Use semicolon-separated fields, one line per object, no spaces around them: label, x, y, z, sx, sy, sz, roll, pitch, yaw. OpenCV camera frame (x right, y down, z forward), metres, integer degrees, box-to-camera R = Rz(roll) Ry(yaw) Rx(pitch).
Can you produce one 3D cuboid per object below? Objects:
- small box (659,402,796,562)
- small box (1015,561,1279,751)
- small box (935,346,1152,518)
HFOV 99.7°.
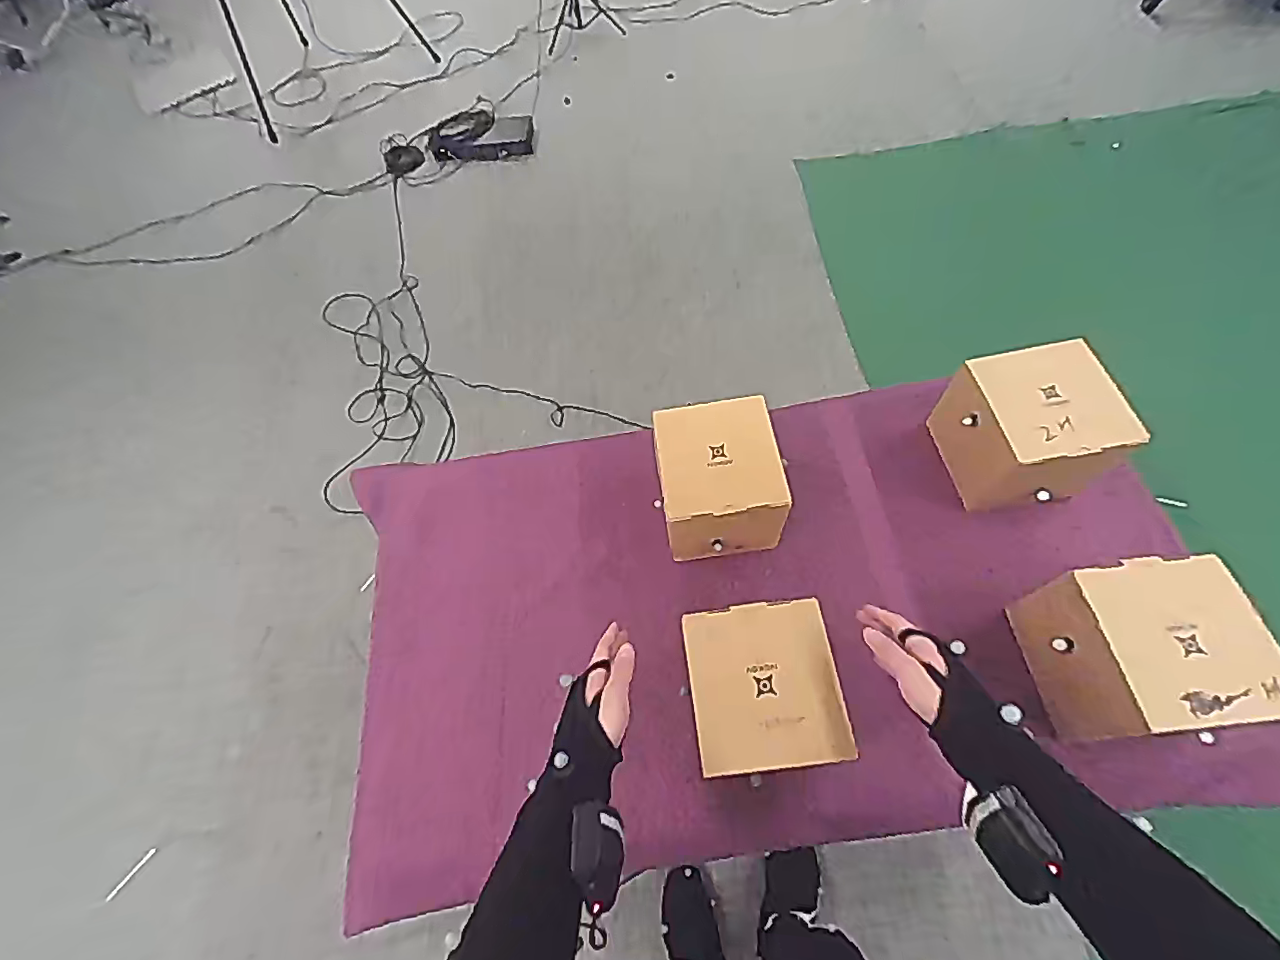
small box;0.119;0.008;0.813;0.168;0.176;0.179;-8;63;1
small box;0.599;0.215;0.649;0.168;0.176;0.179;-7;59;3
small box;0.569;-0.065;0.798;0.168;0.176;0.179;-11;62;4
